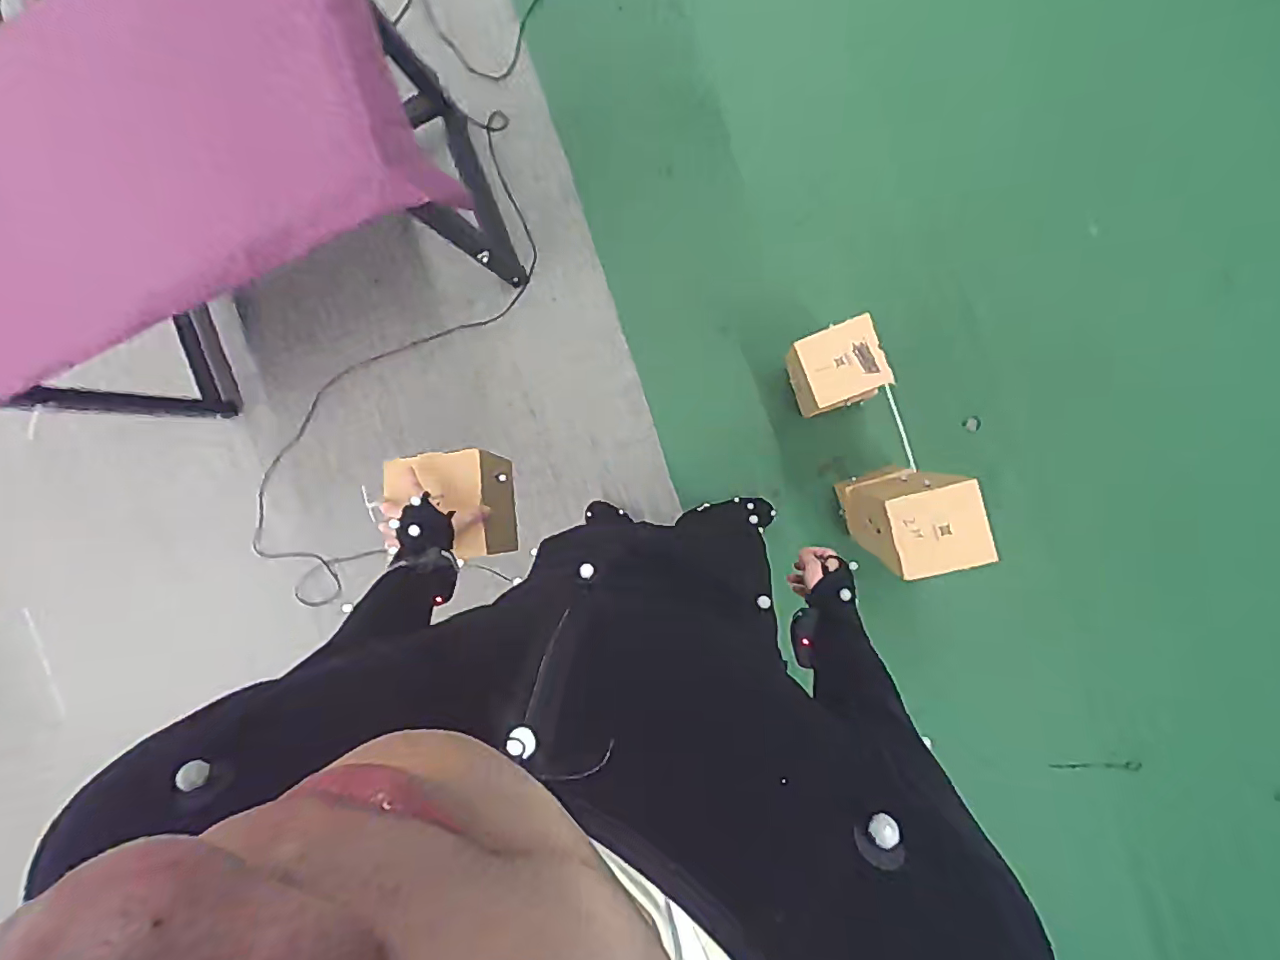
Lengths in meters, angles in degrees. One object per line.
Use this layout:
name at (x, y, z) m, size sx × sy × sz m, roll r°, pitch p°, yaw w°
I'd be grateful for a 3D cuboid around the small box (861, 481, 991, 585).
small box at (0.584, 0.103, 1.126) m, size 0.179 × 0.176 × 0.168 m, roll -15°, pitch 91°, yaw 11°

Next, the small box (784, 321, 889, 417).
small box at (0.461, -0.258, 1.296) m, size 0.179 × 0.176 × 0.168 m, roll -21°, pitch 89°, yaw 10°

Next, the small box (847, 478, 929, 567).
small box at (0.616, 0.095, 1.288) m, size 0.179 × 0.176 × 0.168 m, roll -15°, pitch 91°, yaw 10°

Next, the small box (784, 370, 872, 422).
small box at (0.497, -0.260, 1.457) m, size 0.179 × 0.176 × 0.168 m, roll -18°, pitch 89°, yaw 9°

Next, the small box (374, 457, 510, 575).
small box at (-0.336, 0.065, 0.941) m, size 0.168 × 0.176 × 0.179 m, roll -7°, pitch 84°, yaw 5°
